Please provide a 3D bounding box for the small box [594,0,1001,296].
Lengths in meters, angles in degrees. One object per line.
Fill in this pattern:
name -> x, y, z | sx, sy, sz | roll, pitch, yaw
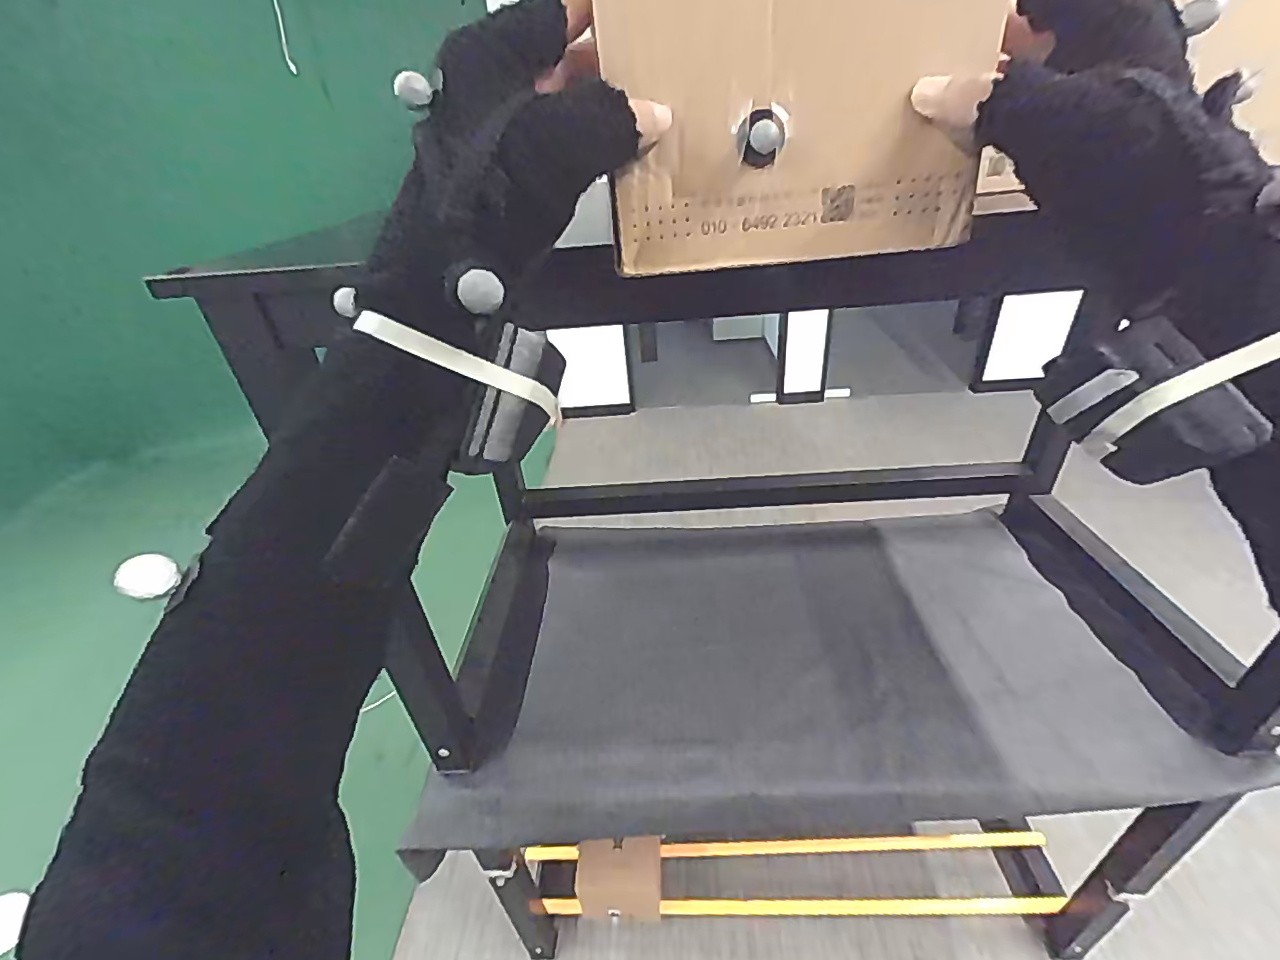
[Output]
small box -> 0.067, -0.208, 0.303 | 0.168, 0.176, 0.179 | -4, 31, 5
